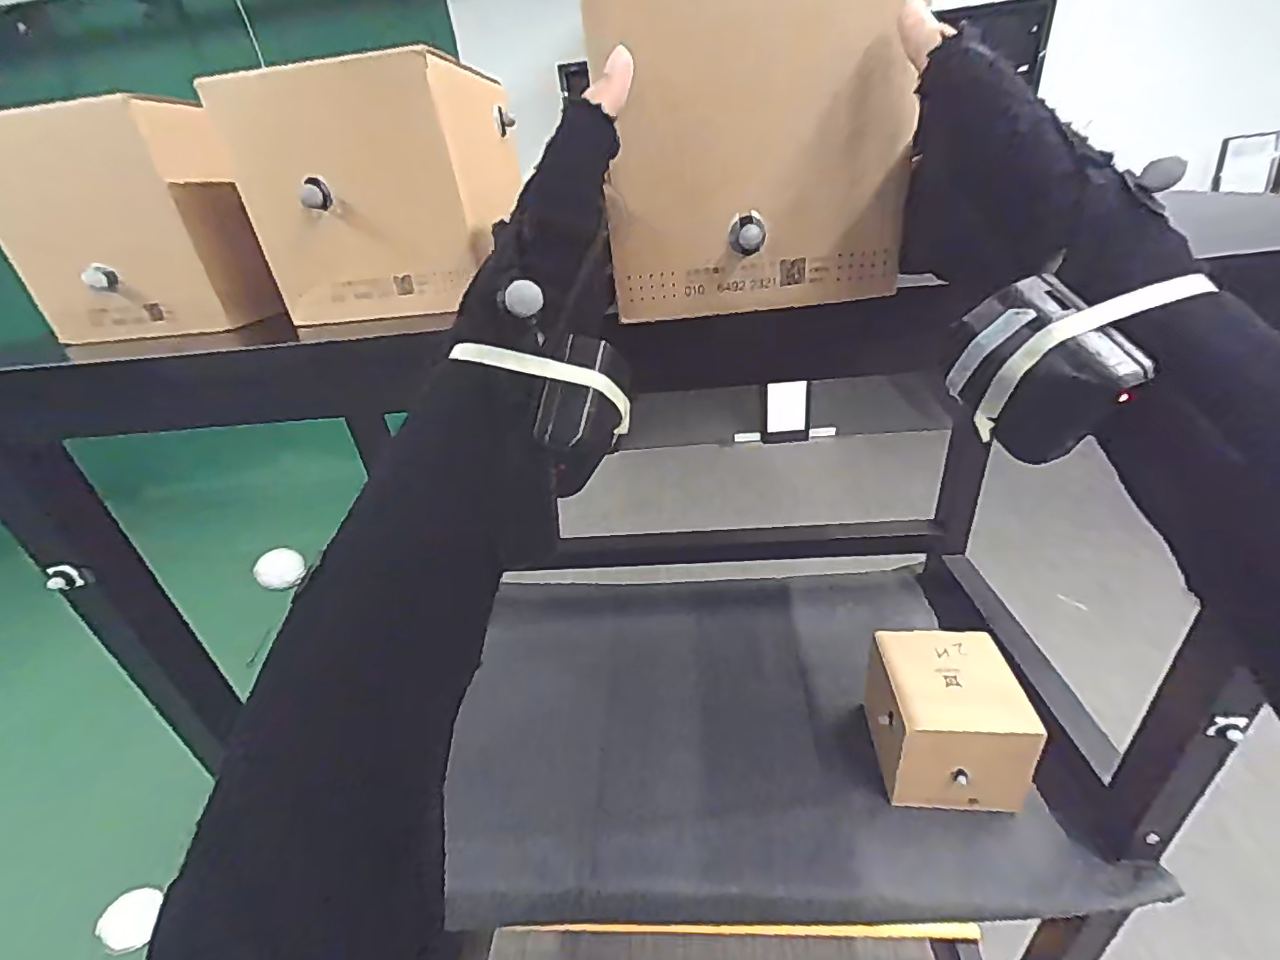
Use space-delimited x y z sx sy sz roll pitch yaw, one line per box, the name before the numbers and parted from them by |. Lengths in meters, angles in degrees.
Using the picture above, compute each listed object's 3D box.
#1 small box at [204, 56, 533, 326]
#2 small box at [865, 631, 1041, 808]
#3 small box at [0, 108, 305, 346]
small box | -0.204 -0.236 0.470 0.168 0.176 0.179 -3 29 7
small box | 0.435 0.344 0.786 0.168 0.176 0.179 -1 28 9
small box | -0.426 -0.232 0.507 0.168 0.176 0.179 -3 30 7
